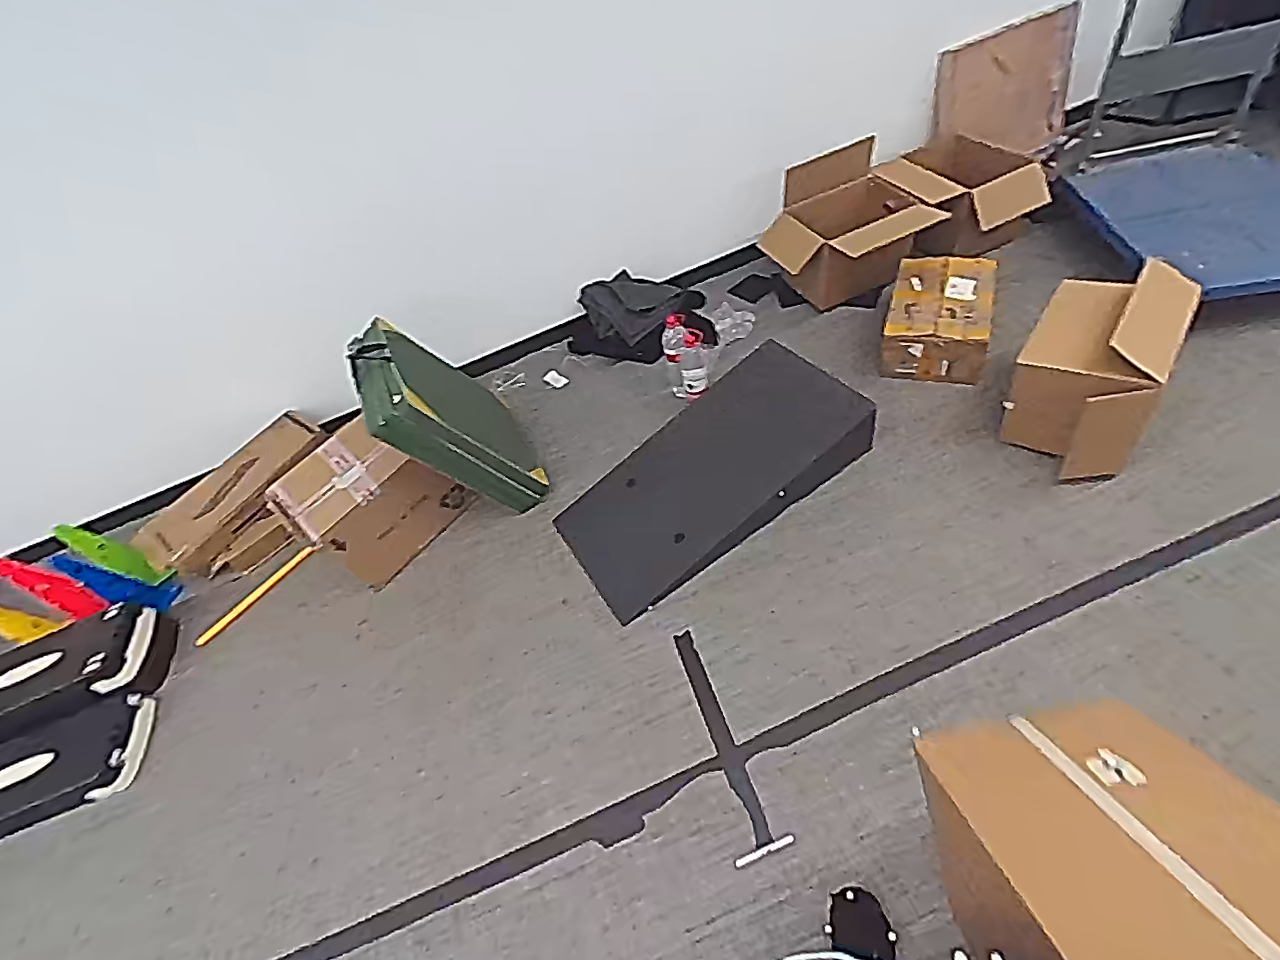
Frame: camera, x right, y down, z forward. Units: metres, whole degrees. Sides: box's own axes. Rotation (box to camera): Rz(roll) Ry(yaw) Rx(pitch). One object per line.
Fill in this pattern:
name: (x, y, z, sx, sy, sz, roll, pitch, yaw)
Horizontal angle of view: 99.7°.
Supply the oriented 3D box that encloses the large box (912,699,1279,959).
large box: (0.607, 0.545, 0.666, 0.320, 0.320, 0.408, -13, 7, 5)
